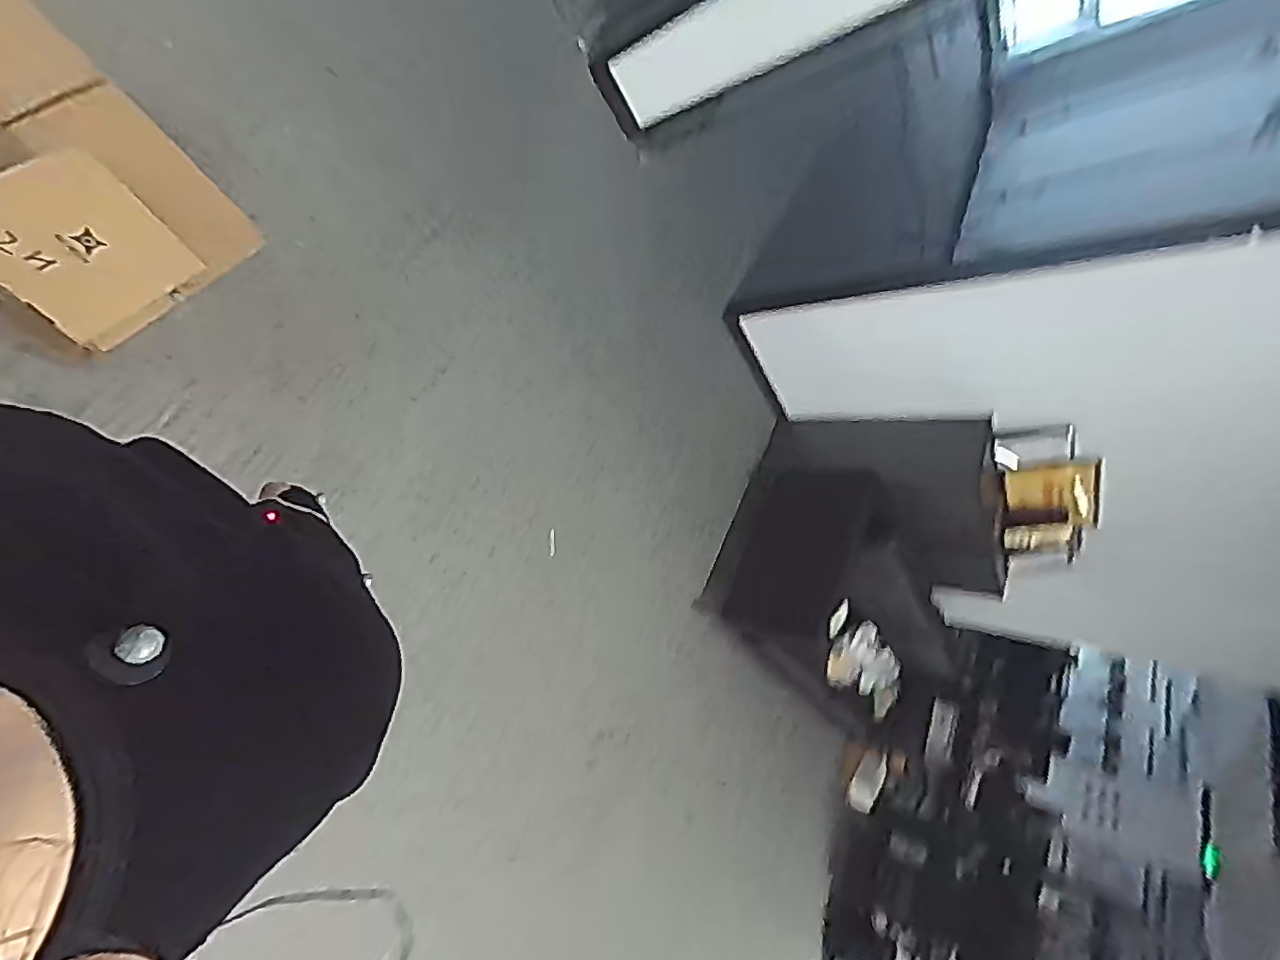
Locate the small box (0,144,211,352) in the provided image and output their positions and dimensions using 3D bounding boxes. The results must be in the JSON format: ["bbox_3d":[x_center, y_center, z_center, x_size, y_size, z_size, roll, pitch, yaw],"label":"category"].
[{"bbox_3d":[-0.710,-0.283,0.686,0.179,0.176,0.168,-57,133,-29],"label":"small box"}]
